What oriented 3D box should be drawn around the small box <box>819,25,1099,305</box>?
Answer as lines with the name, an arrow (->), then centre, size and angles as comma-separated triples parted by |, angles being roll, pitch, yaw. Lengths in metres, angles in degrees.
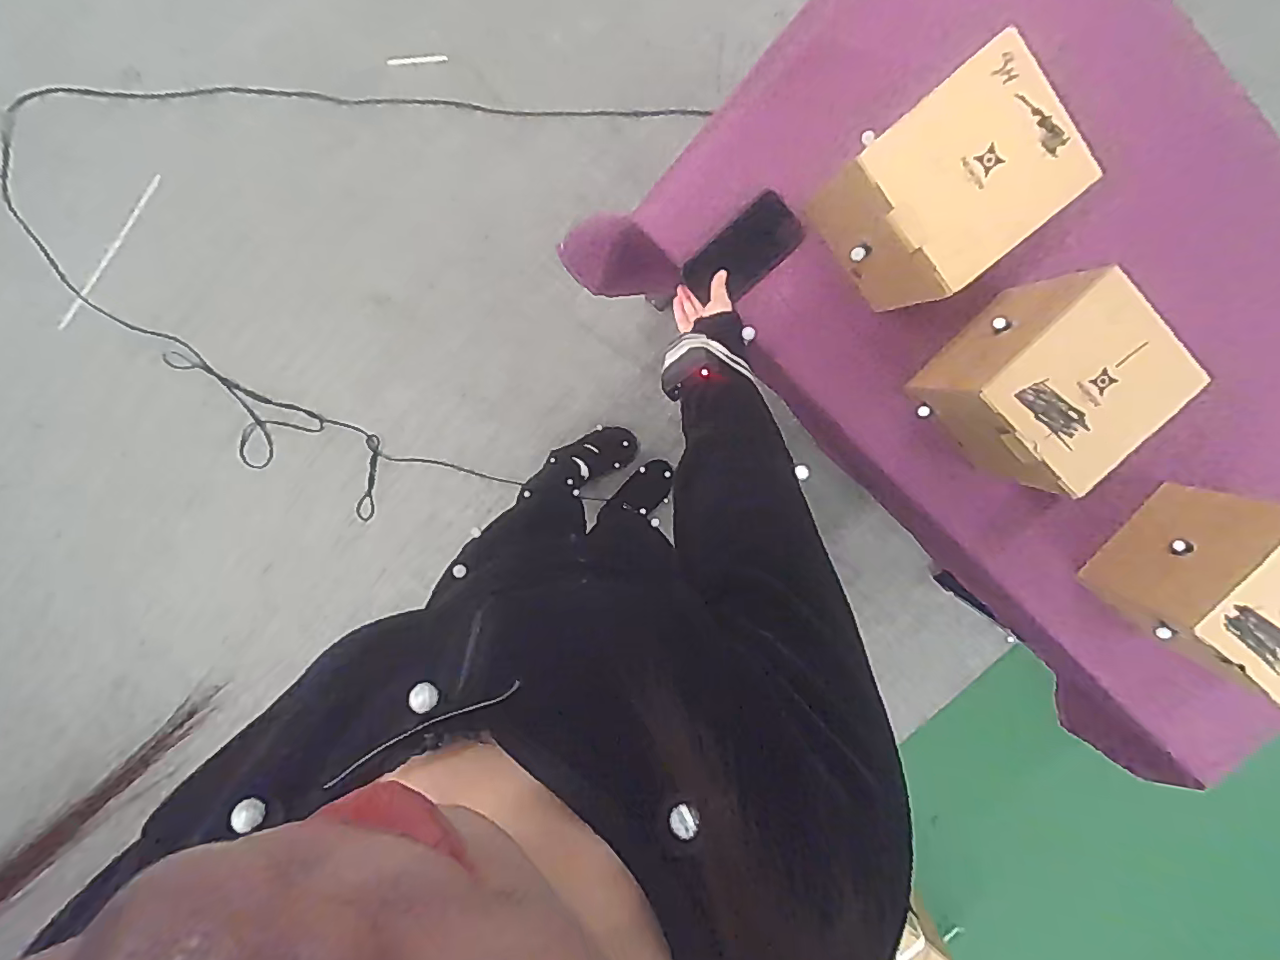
small box -> 0.318, -0.312, 0.586 | 0.179, 0.176, 0.168 | -39, 99, 8

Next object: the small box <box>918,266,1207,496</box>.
small box -> 0.460, -0.111, 0.628 | 0.168, 0.176, 0.179 | 43, 98, -8
